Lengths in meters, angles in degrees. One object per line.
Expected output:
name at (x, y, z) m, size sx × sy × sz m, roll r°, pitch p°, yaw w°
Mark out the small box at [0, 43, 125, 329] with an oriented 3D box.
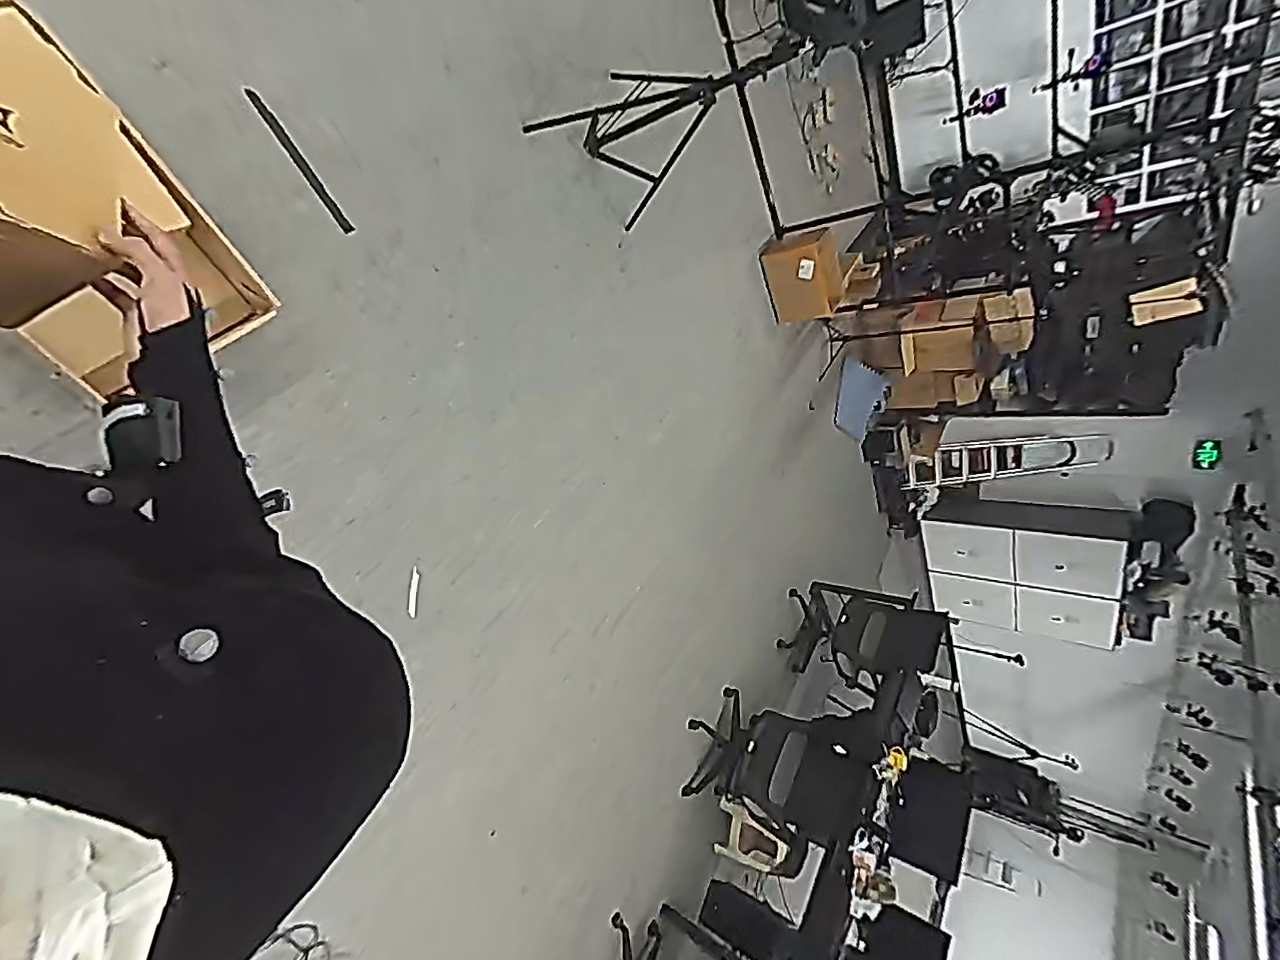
small box at (-0.580, -0.256, 0.445) m, size 0.168 × 0.176 × 0.179 m, roll 19°, pitch 56°, yaw -70°
